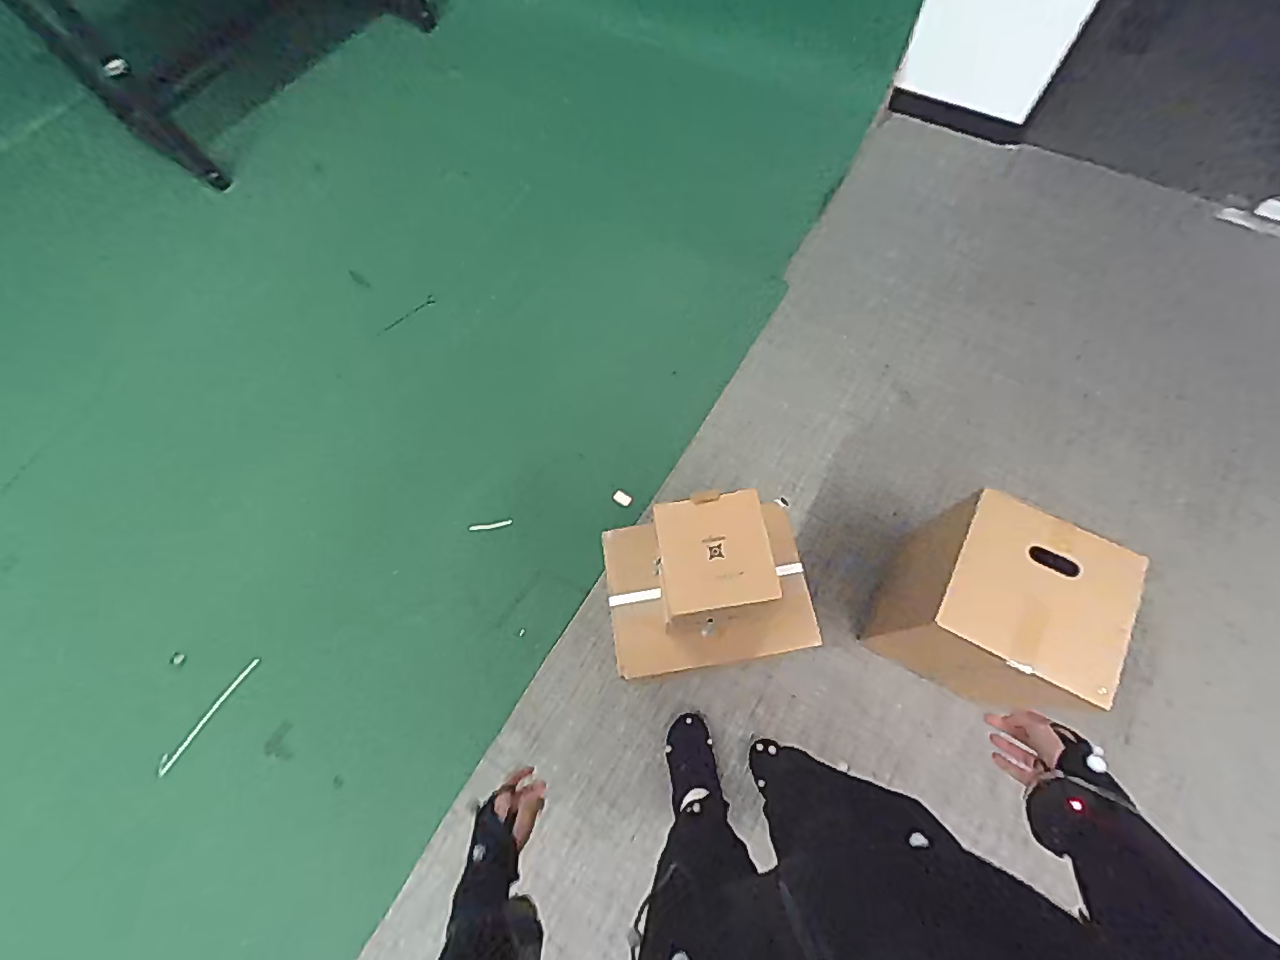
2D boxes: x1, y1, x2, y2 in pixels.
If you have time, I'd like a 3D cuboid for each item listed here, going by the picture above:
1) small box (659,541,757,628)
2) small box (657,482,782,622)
[{"bbox_3d":[0.123,0.179,1.035,0.168,0.176,0.179,-6,68,1],"label":"small box"},{"bbox_3d":[0.119,0.123,0.882,0.168,0.176,0.179,-9,68,1],"label":"small box"}]
